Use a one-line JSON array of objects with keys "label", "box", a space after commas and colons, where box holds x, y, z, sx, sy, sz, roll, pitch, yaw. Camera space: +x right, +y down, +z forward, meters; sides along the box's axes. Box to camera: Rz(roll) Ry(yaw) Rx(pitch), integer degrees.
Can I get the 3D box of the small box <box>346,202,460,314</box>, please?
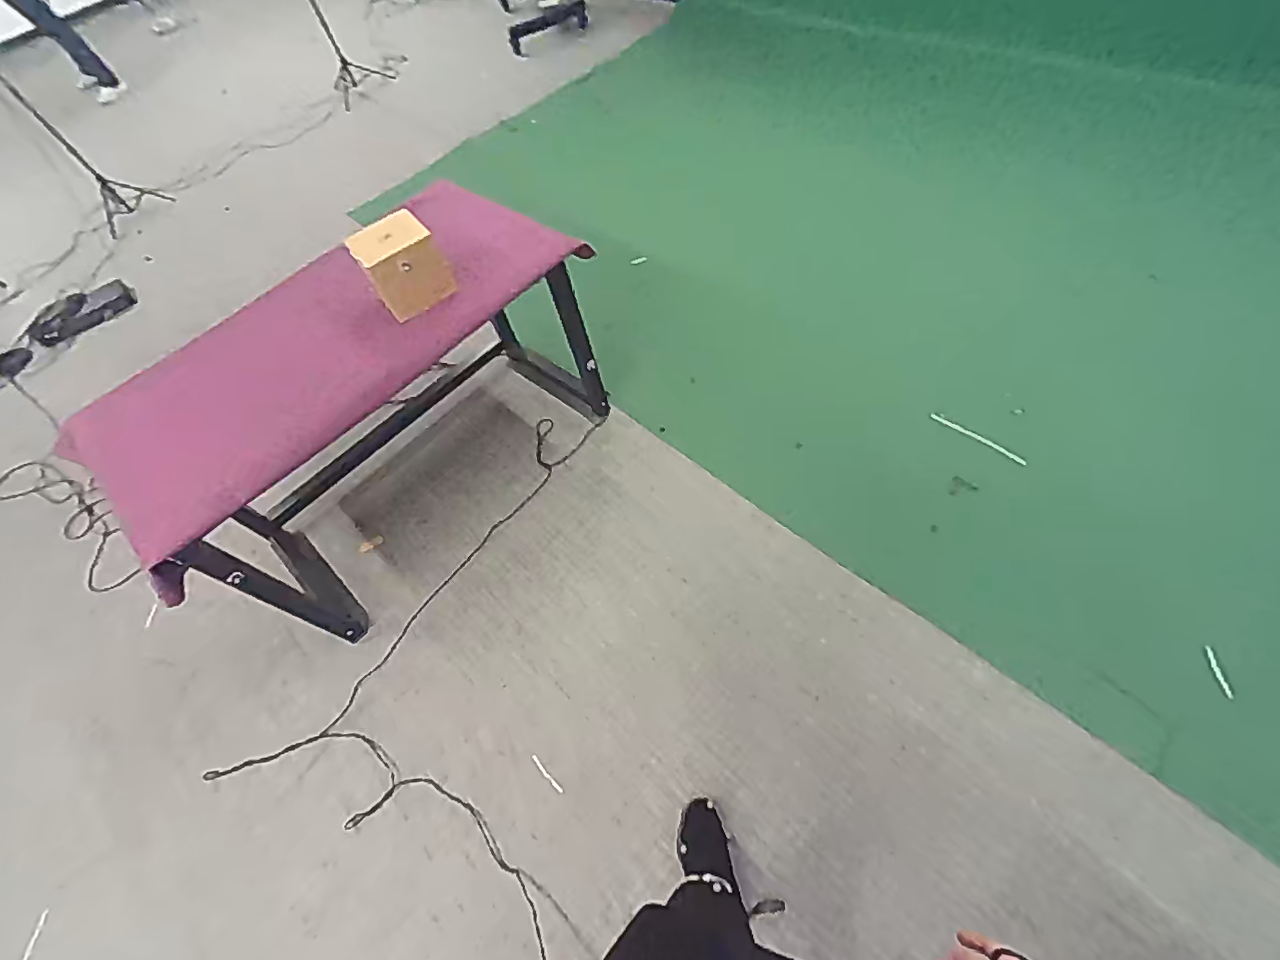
[{"label": "small box", "box": [-0.586, -0.549, 1.353, 0.179, 0.176, 0.168, -35, 59, -12]}]
